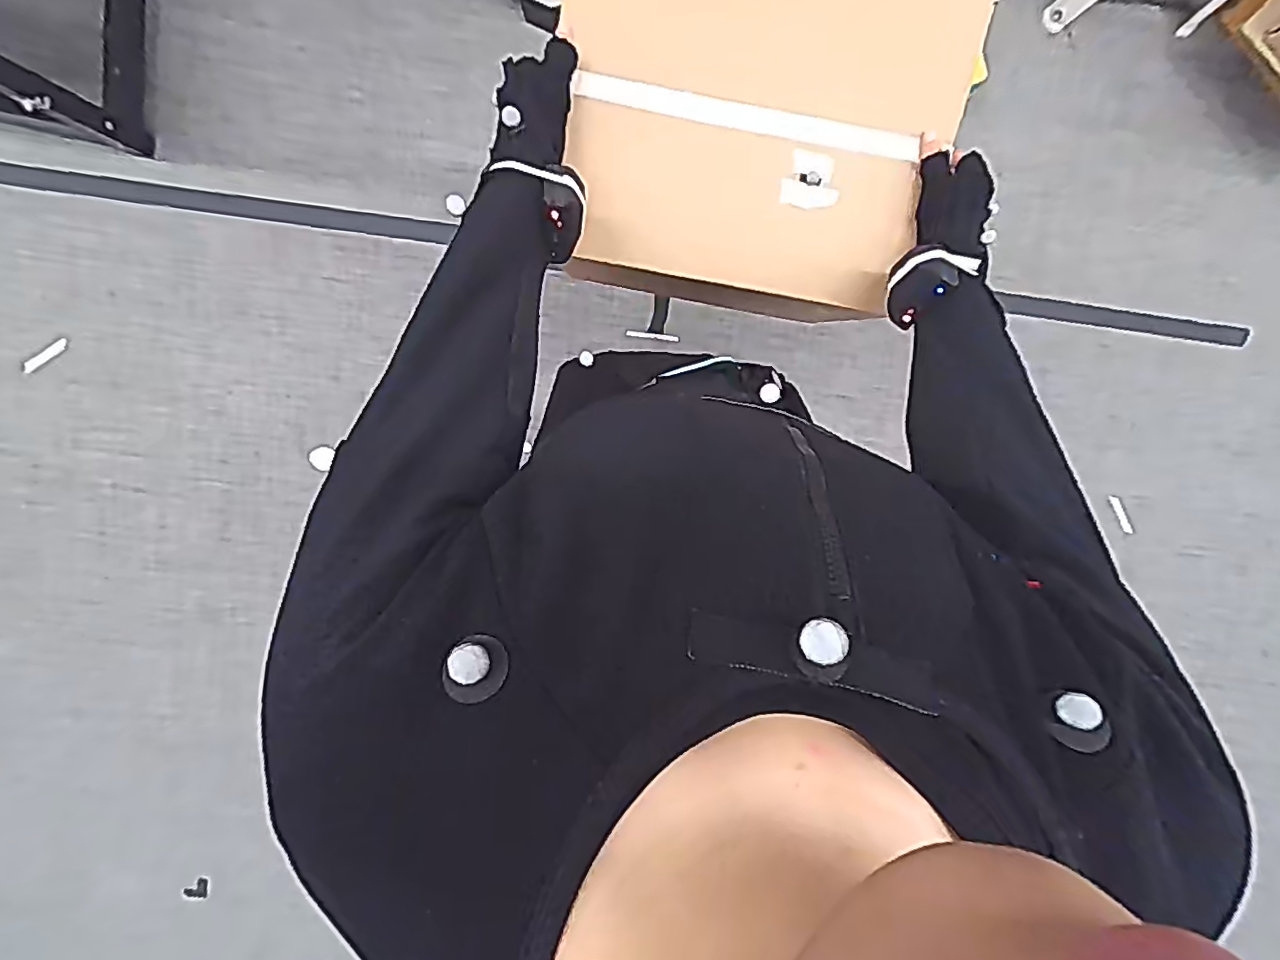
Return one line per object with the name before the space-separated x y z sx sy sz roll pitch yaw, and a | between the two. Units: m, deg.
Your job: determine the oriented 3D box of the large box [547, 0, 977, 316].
large box | 0.110 -0.404 0.701 0.408 0.320 0.320 9 106 -4
